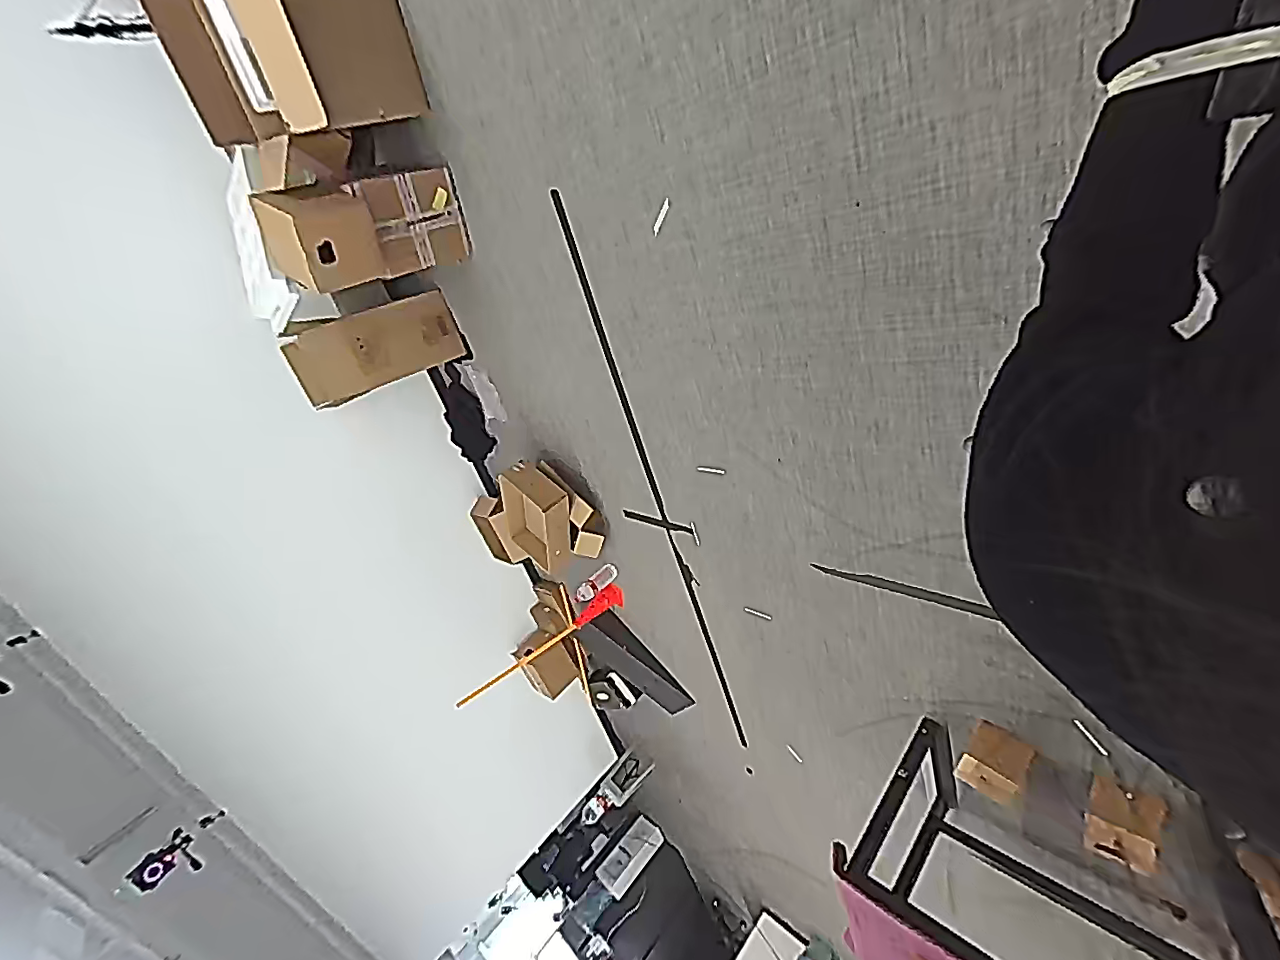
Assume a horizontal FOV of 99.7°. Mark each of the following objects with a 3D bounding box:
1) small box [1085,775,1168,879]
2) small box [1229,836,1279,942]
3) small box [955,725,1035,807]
[{"bbox_3d":[1.515,1.073,1.683,0.168,0.176,0.179,9,126,47],"label":"small box"},{"bbox_3d":[1.731,1.120,1.456,0.168,0.176,0.179,12,130,46],"label":"small box"},{"bbox_3d":[1.273,1.014,1.938,0.179,0.176,0.168,26,138,34],"label":"small box"}]
